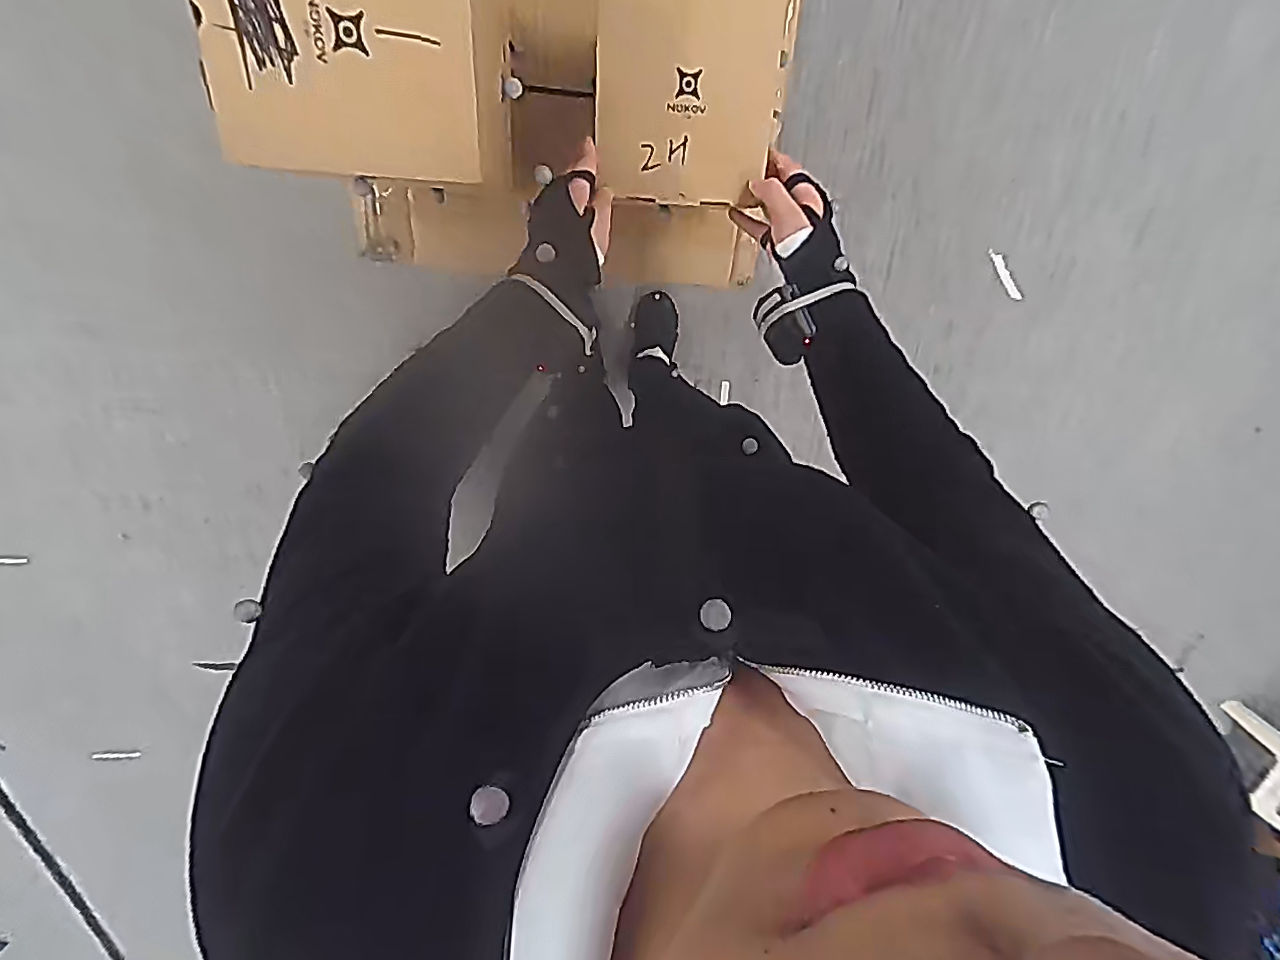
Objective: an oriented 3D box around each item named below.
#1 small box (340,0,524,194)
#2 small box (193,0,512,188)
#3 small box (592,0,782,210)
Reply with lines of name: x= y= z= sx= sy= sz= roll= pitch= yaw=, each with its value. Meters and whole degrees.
small box: x=-0.216 y=-0.405 z=0.566 sx=0.168 sy=0.176 sz=0.179 roll=2 pitch=118 yaw=-5
small box: x=-0.202 y=-0.329 z=0.421 sx=0.179 sy=0.176 sz=0.168 roll=1 pitch=117 yaw=-6
small box: x=0.034 y=-0.388 z=0.568 sx=0.168 sy=0.176 sz=0.179 roll=1 pitch=115 yaw=-4
